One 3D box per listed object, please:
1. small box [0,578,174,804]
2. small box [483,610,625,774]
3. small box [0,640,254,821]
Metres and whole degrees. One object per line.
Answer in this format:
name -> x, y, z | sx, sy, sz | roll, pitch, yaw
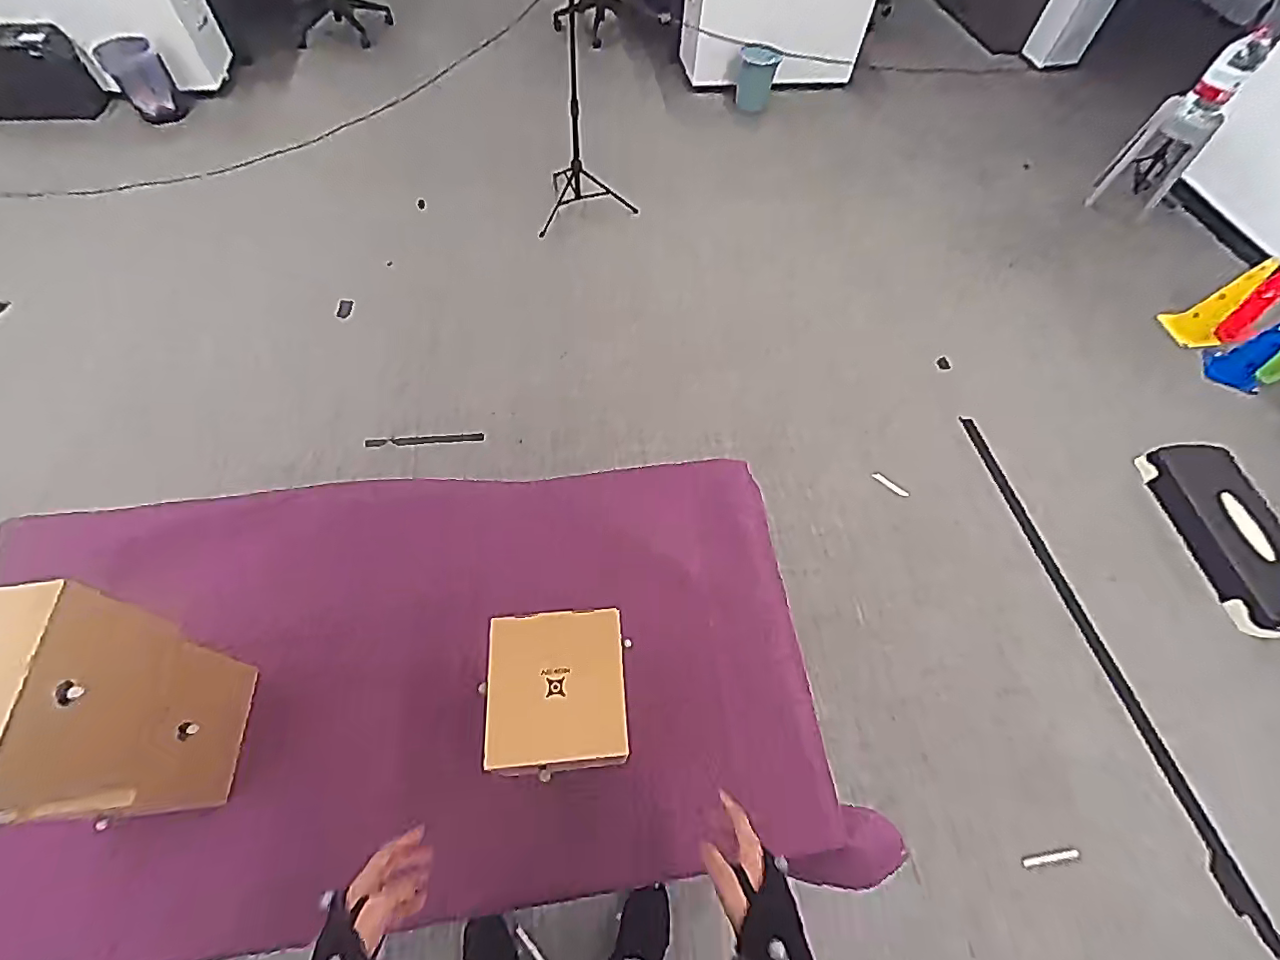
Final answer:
small box -> -0.620, 0.217, 0.537 | 0.168, 0.176, 0.179 | -6, 59, -8
small box -> -0.107, 0.289, 0.725 | 0.168, 0.176, 0.179 | -3, 58, -5
small box -> -0.624, 0.311, 0.672 | 0.168, 0.176, 0.179 | -2, 59, -6
